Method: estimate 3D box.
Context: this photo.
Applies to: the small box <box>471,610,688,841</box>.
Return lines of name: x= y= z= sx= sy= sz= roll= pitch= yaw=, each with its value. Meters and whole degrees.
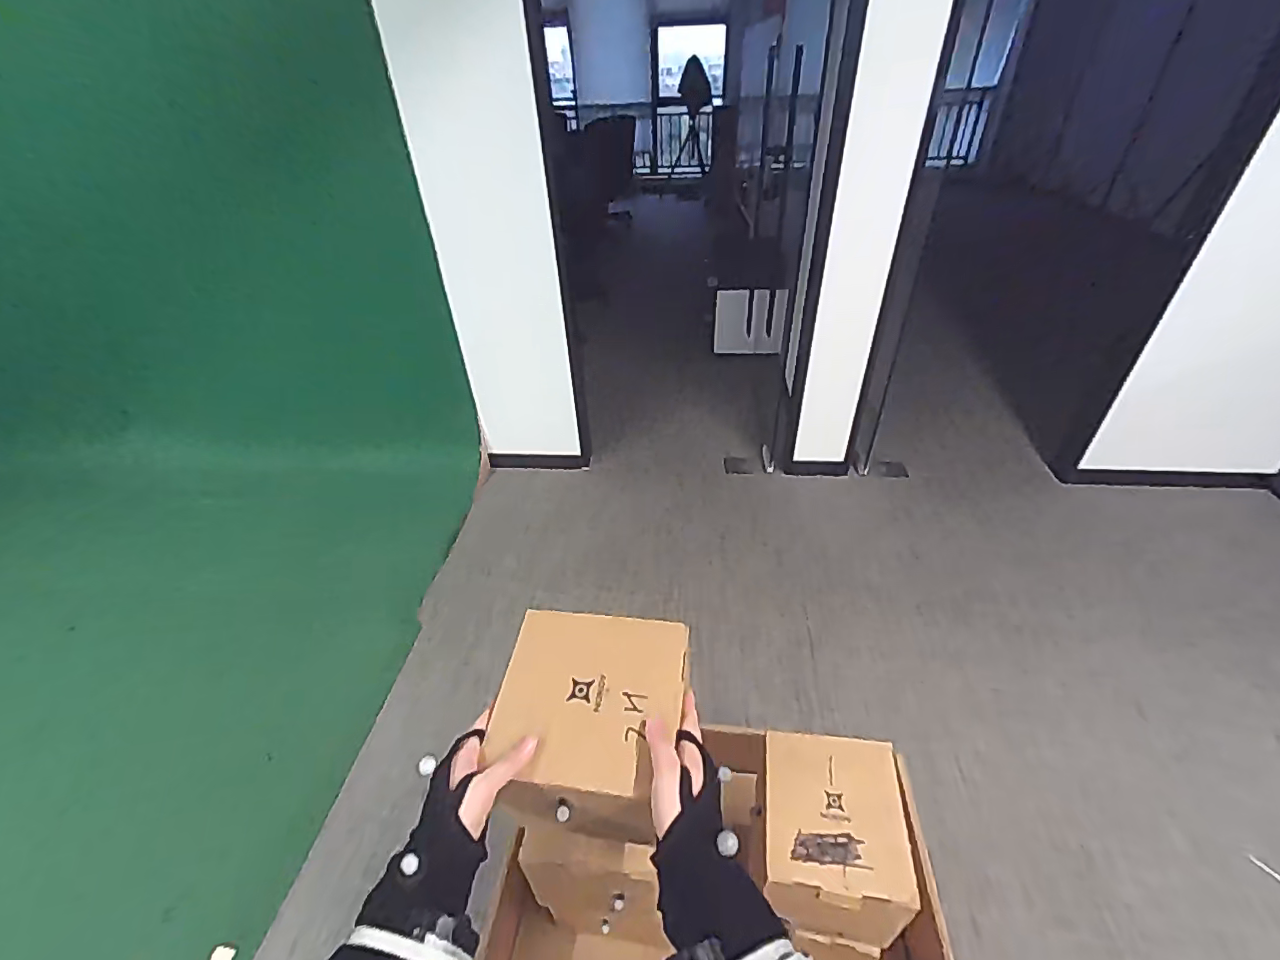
small box: x=-0.045 y=0.257 z=0.567 sx=0.179 sy=0.176 sz=0.168 roll=3 pitch=46 yaw=9

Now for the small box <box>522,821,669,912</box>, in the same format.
small box: x=-0.044 y=0.457 z=0.741 sx=0.168 sy=0.176 sz=0.179 roll=3 pitch=38 yaw=8

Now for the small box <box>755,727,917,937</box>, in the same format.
small box: x=0.242 y=0.460 z=0.711 sx=0.168 sy=0.176 sz=0.179 roll=4 pitch=38 yaw=10
